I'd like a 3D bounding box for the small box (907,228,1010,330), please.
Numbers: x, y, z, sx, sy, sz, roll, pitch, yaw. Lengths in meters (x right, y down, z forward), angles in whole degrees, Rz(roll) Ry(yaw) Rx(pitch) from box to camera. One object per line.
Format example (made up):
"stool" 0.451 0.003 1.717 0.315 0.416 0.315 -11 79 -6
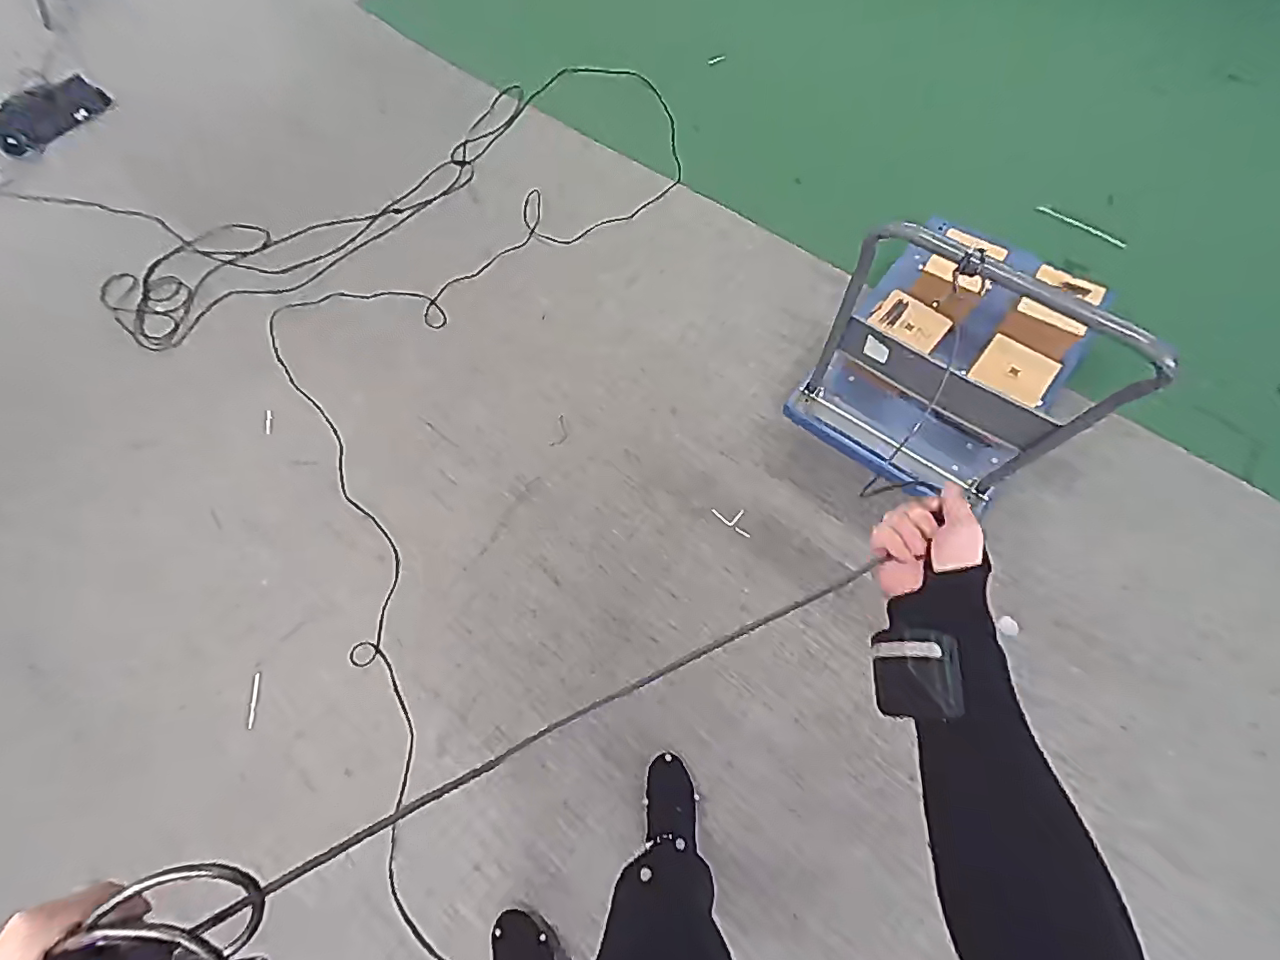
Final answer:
"small box" 0.886 -0.559 1.525 0.168 0.176 0.179 33 74 15

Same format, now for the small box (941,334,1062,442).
"small box" 0.919 -0.231 1.393 0.168 0.176 0.179 38 77 17

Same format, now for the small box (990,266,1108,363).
"small box" 1.090 -0.429 1.457 0.168 0.176 0.179 33 75 16
